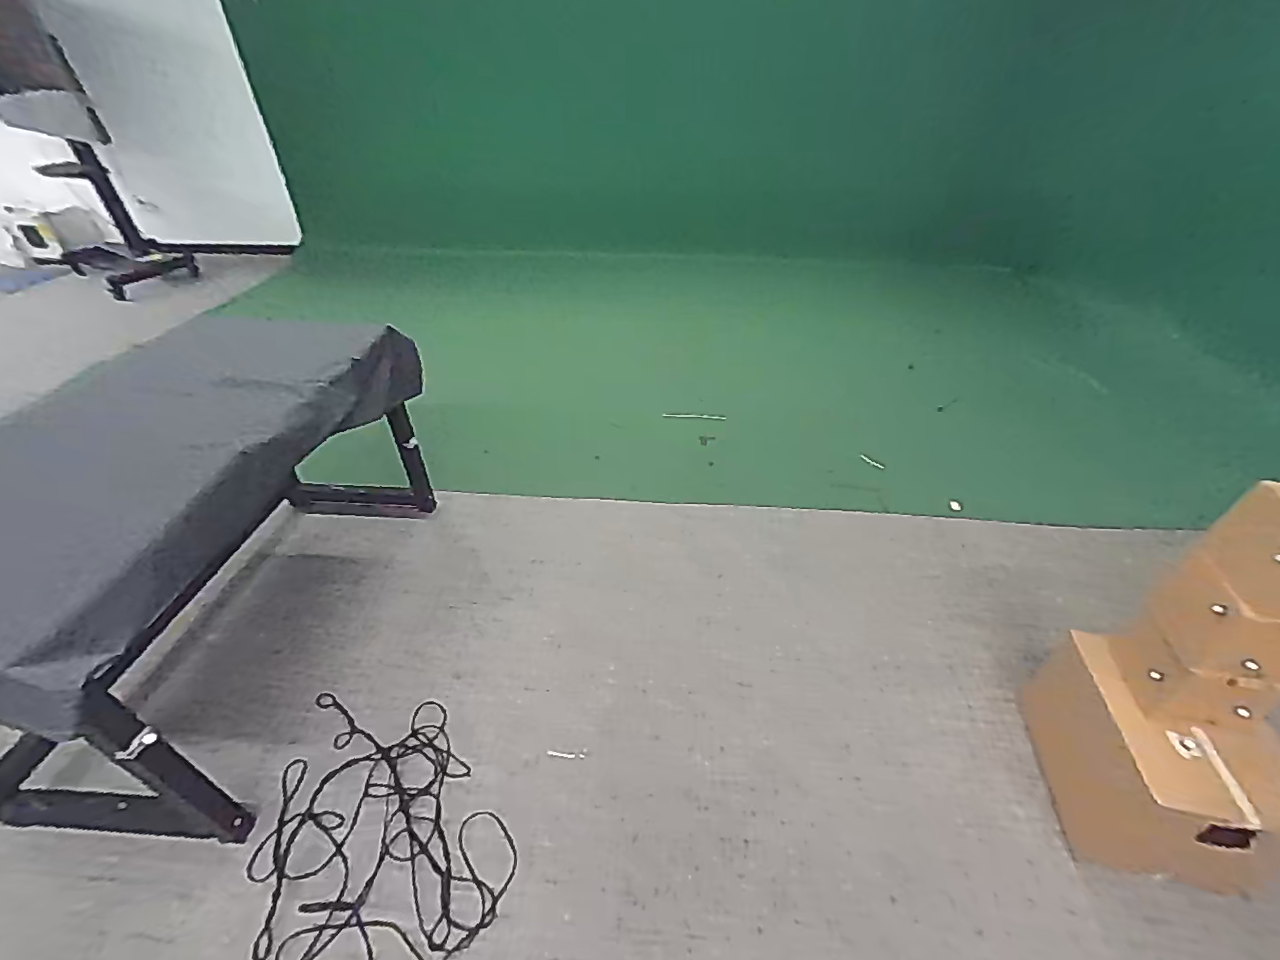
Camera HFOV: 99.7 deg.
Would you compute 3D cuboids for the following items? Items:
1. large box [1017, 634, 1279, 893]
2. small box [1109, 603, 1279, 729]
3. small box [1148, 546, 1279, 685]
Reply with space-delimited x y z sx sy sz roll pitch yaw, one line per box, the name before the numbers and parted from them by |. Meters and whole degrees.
large box | 1.144 0.622 1.222 0.320 0.320 0.408 6 40 9
small box | 1.144 0.389 1.126 0.168 0.176 0.179 8 38 8
small box | 1.139 0.257 1.031 0.168 0.176 0.179 9 40 9
